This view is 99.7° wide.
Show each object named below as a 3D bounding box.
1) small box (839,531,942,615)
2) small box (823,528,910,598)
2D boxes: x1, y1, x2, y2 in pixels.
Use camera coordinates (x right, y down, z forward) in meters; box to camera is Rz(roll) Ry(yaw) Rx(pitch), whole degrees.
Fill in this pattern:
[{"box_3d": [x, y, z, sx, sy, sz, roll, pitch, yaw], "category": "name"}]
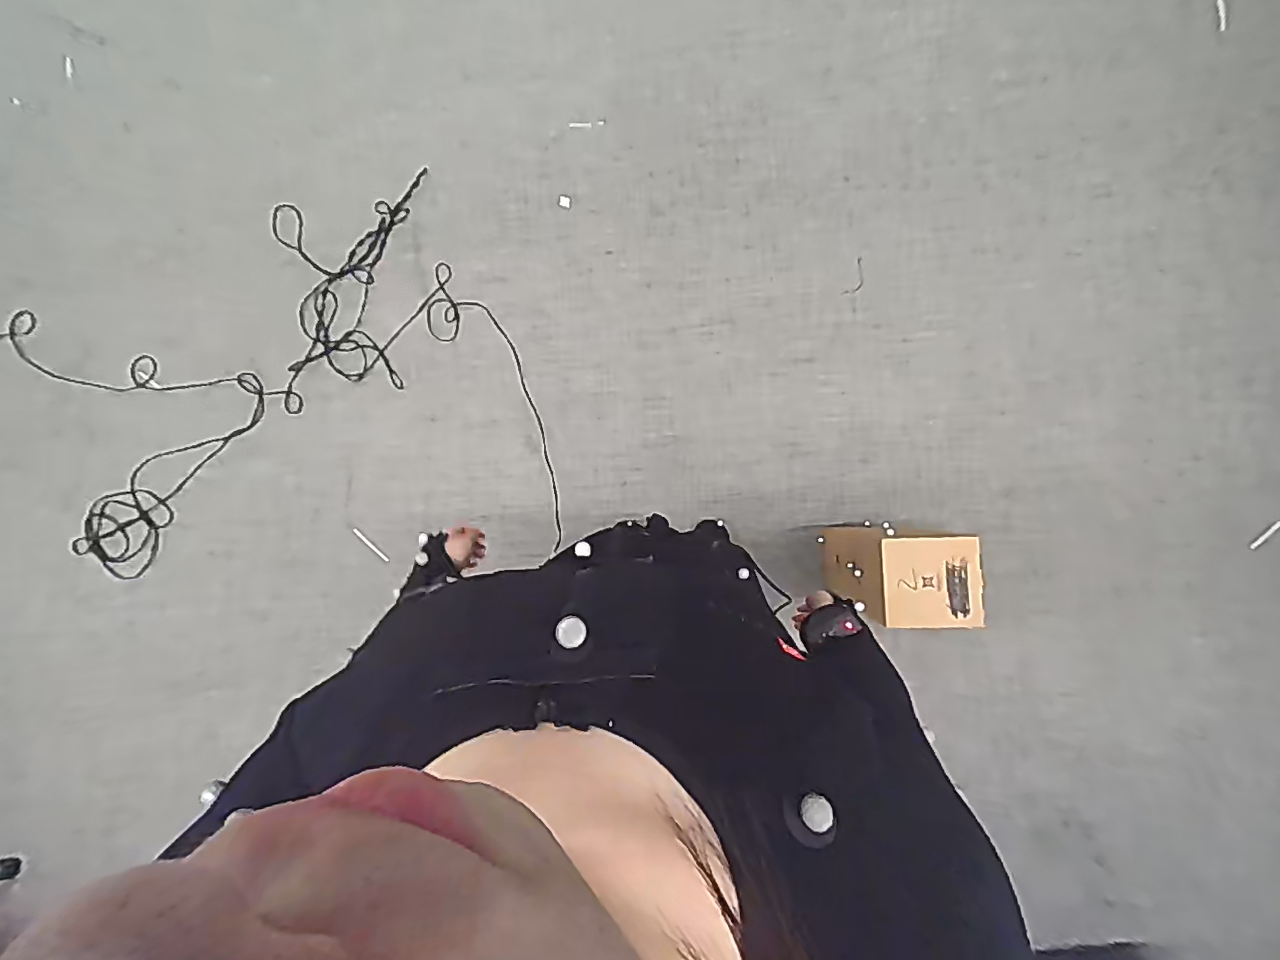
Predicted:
[{"box_3d": [0.559, 0.205, 1.226, 0.168, 0.176, 0.179, -2, 87, 5], "category": "small box"}, {"box_3d": [0.578, 0.211, 1.390, 0.179, 0.176, 0.168, -2, 87, 4], "category": "small box"}]
